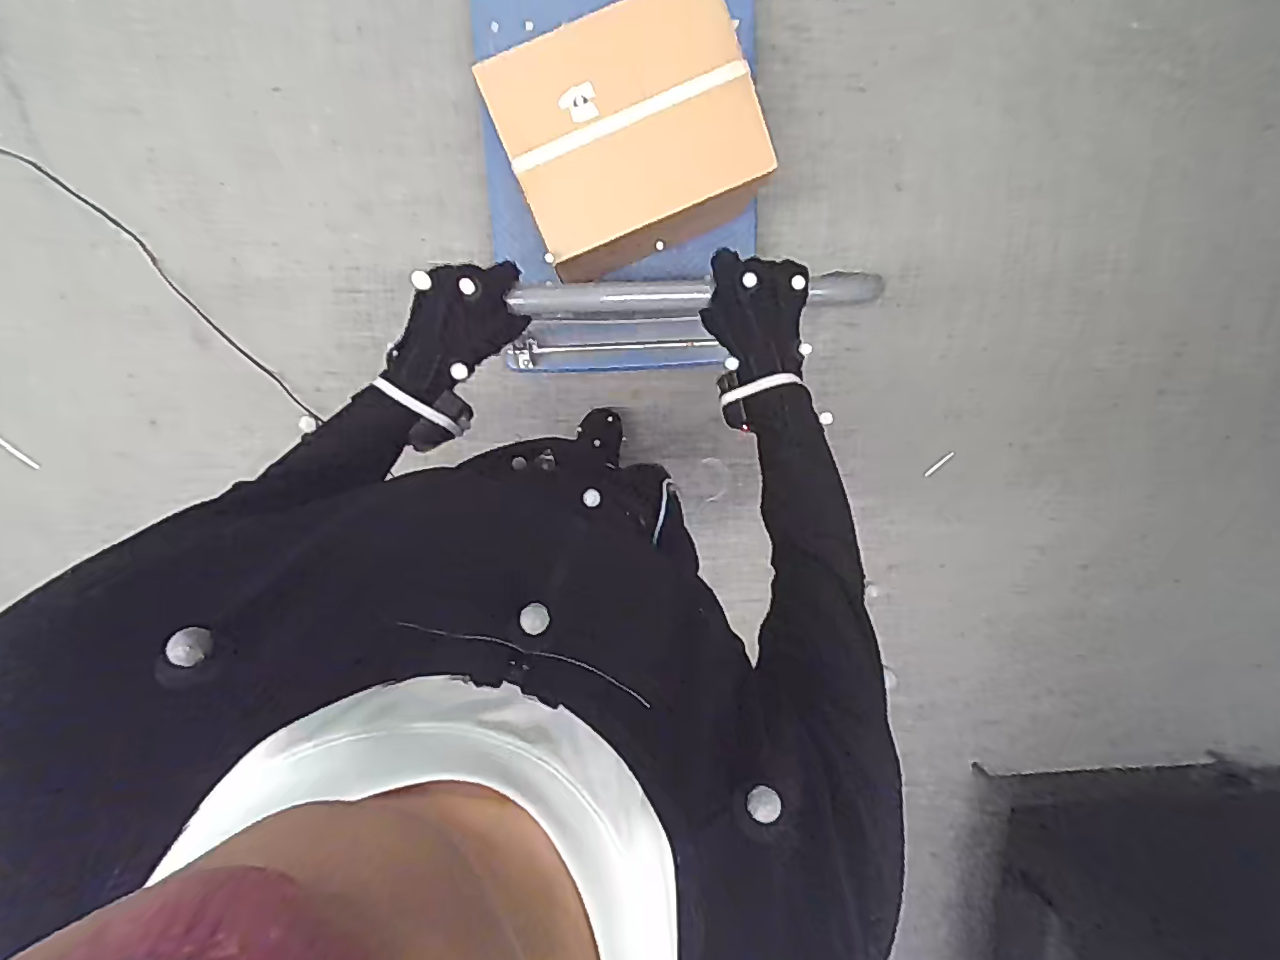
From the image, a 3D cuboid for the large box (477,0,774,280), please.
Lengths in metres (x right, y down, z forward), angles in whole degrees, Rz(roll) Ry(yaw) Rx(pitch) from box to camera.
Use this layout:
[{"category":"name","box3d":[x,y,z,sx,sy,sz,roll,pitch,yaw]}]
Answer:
[{"category":"large box","box3d":[-0.023,-0.612,1.005,0.408,0.320,0.320,-22,103,2]}]
